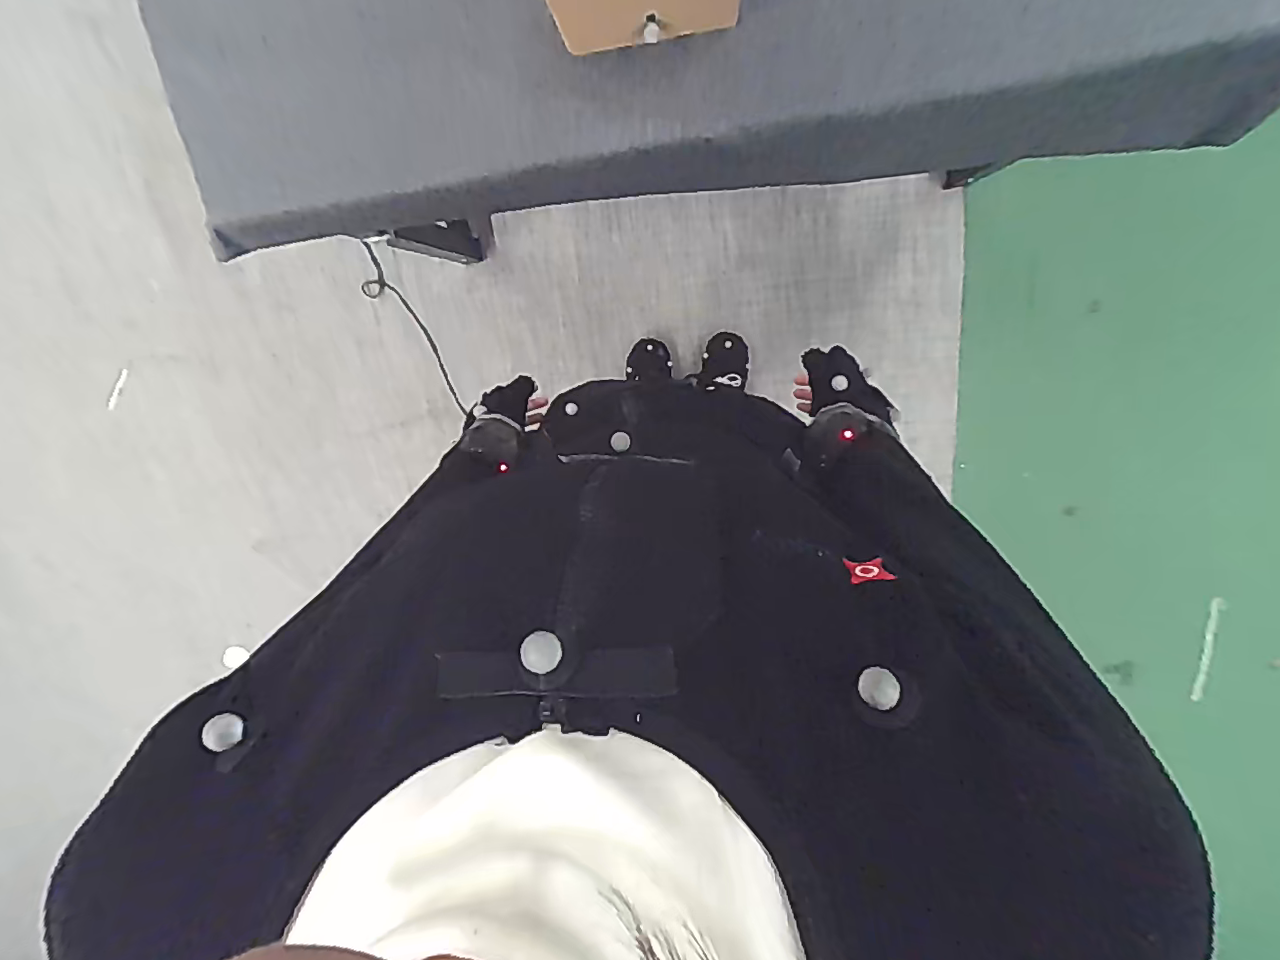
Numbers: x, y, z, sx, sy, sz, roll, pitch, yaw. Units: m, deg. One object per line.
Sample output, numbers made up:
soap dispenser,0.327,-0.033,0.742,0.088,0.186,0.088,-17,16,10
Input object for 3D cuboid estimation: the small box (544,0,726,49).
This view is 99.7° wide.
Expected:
small box,-0.008,-0.509,0.458,0.179,0.176,0.168,-5,105,7
